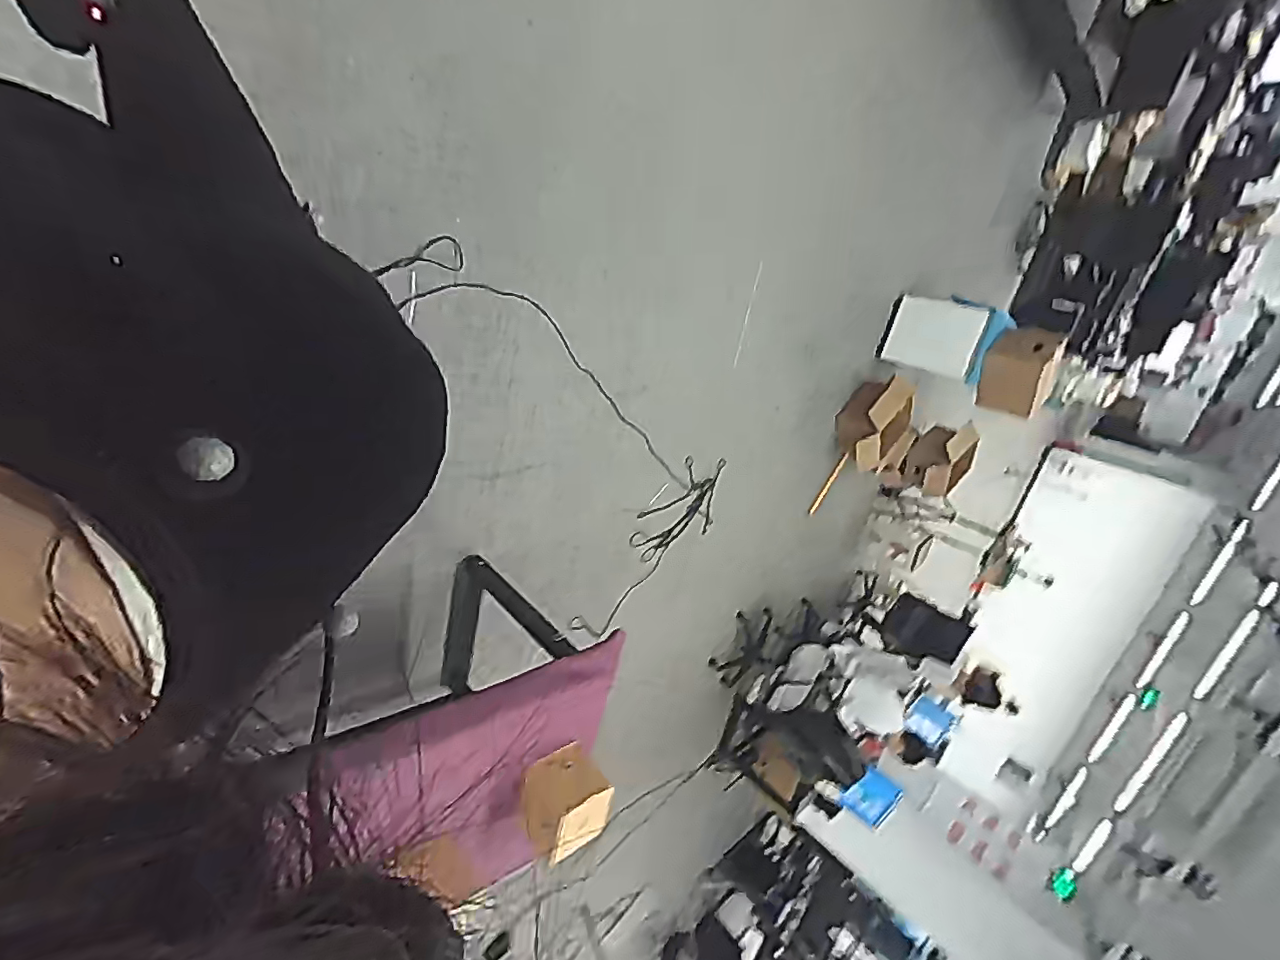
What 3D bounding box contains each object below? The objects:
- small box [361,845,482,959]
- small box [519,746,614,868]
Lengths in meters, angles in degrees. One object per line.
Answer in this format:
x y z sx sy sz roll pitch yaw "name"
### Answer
-0.472 0.929 1.160 0.168 0.176 0.179 8 106 -48 "small box"
-0.197 0.841 1.406 0.168 0.176 0.179 -6 116 -45 "small box"
